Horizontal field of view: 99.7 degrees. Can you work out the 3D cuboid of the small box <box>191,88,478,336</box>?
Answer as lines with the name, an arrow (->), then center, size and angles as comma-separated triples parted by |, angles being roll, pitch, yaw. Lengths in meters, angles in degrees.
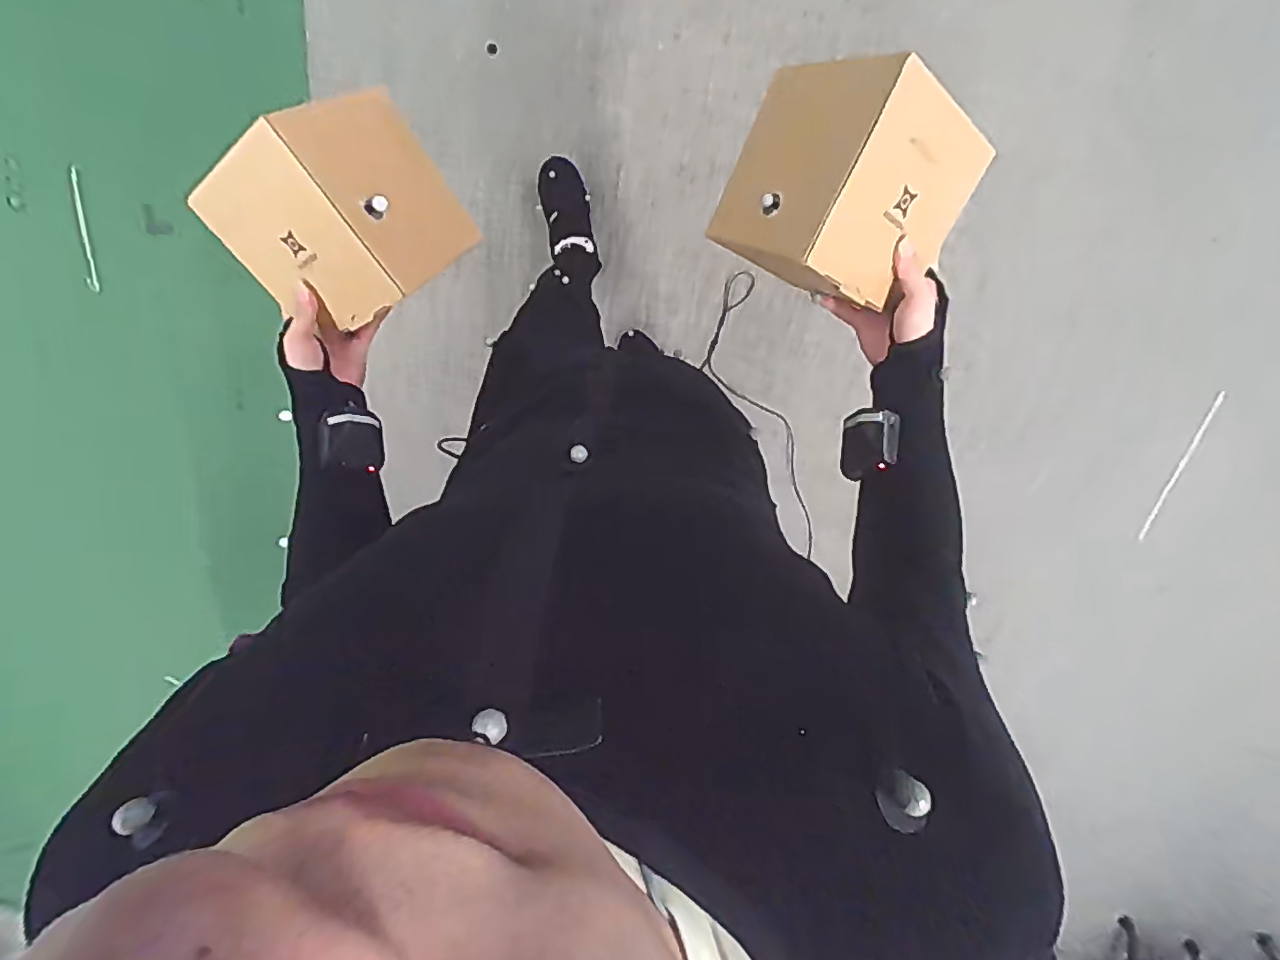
small box -> -0.319, -0.295, 0.595 | 0.168, 0.176, 0.179 | -12, 127, 32

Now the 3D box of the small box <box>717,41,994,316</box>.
small box -> 0.206, -0.299, 0.559 | 0.168, 0.176, 0.179 | 12, 113, -36
